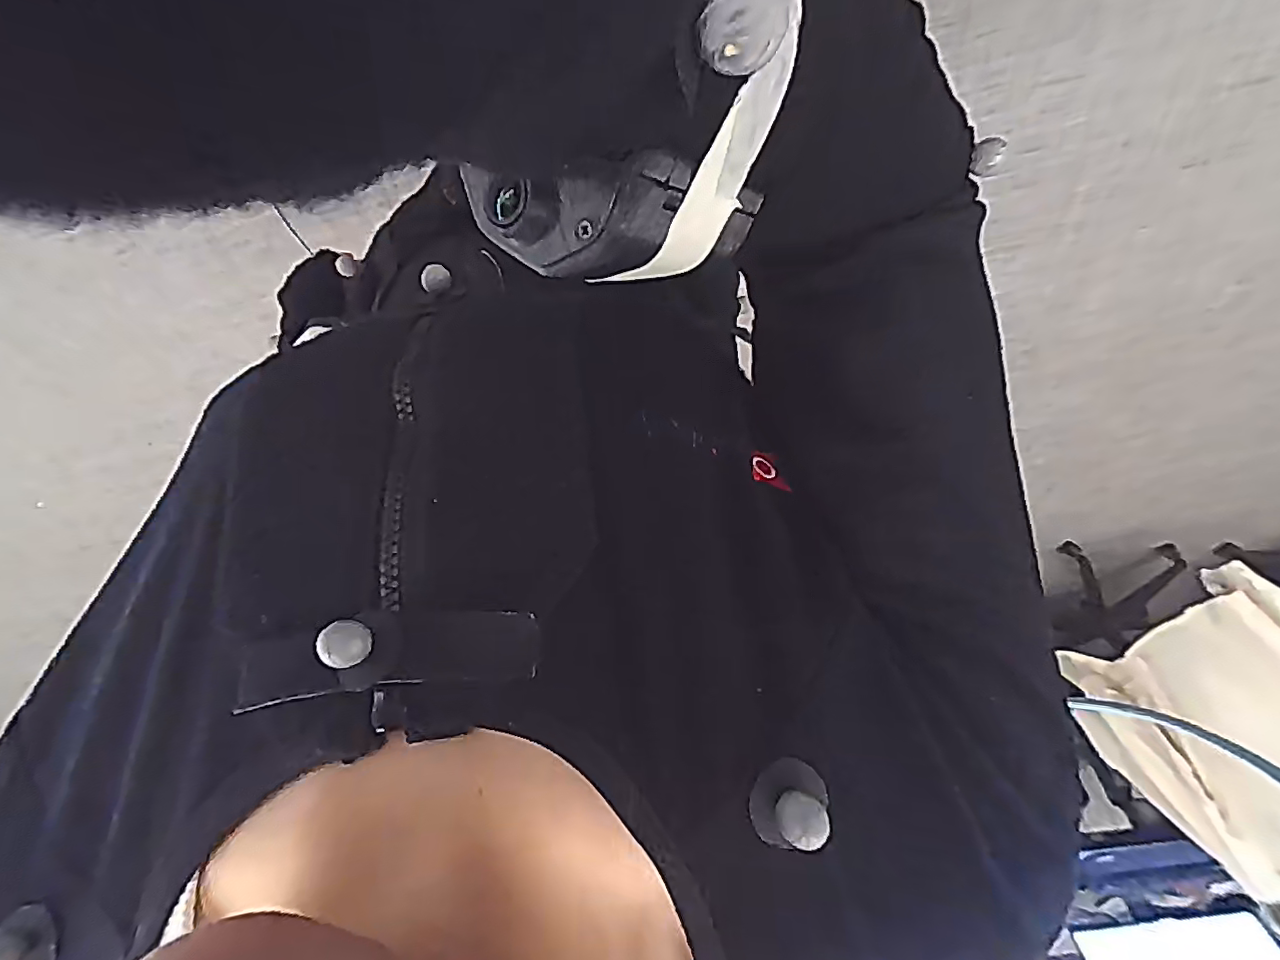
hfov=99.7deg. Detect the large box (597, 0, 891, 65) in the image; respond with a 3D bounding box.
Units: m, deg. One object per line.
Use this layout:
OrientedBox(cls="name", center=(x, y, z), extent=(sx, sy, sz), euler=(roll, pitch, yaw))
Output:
OrientedBox(cls="large box", center=(0.132, -0.813, 0.776), extent=(0.408, 0.320, 0.320), euler=(-4, 130, -1))
